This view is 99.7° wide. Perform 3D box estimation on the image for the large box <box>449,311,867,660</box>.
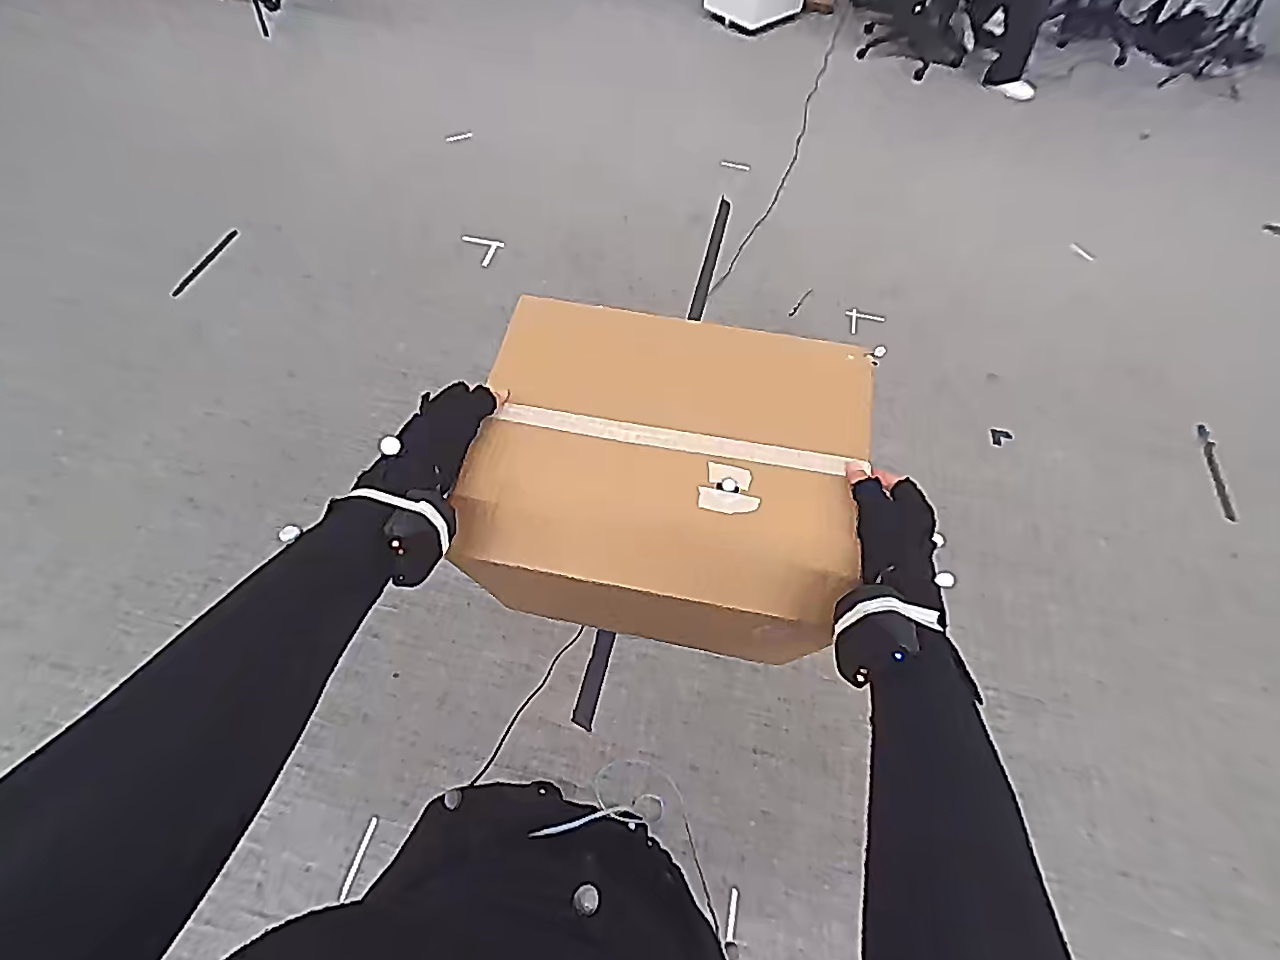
[{"bbox_3d":[0.033,0.027,0.703,0.408,0.320,0.320,11,67,5],"label":"large box"}]
